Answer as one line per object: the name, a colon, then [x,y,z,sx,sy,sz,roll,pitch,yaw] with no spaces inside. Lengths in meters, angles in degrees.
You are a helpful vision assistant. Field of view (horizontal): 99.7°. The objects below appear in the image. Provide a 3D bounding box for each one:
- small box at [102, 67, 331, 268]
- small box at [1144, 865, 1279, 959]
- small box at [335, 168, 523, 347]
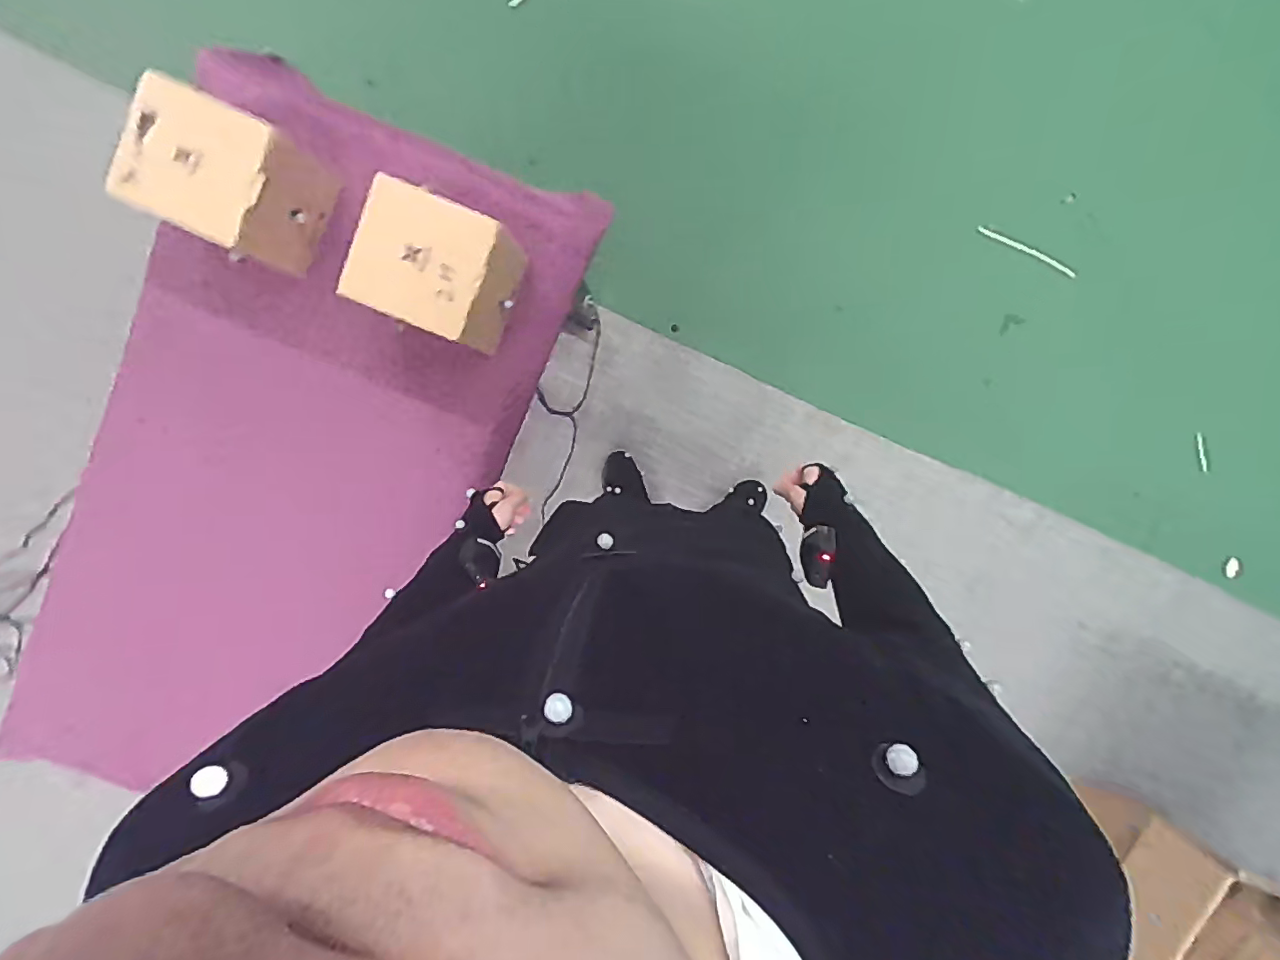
small box: [-0.585,-0.425,0.774,0.179,0.176,0.168,24,95,-5]
small box: [1.338,1.040,1.245,0.179,0.176,0.168,27,95,-4]
small box: [-0.293,-0.306,0.786,0.179,0.176,0.168,22,97,-2]
